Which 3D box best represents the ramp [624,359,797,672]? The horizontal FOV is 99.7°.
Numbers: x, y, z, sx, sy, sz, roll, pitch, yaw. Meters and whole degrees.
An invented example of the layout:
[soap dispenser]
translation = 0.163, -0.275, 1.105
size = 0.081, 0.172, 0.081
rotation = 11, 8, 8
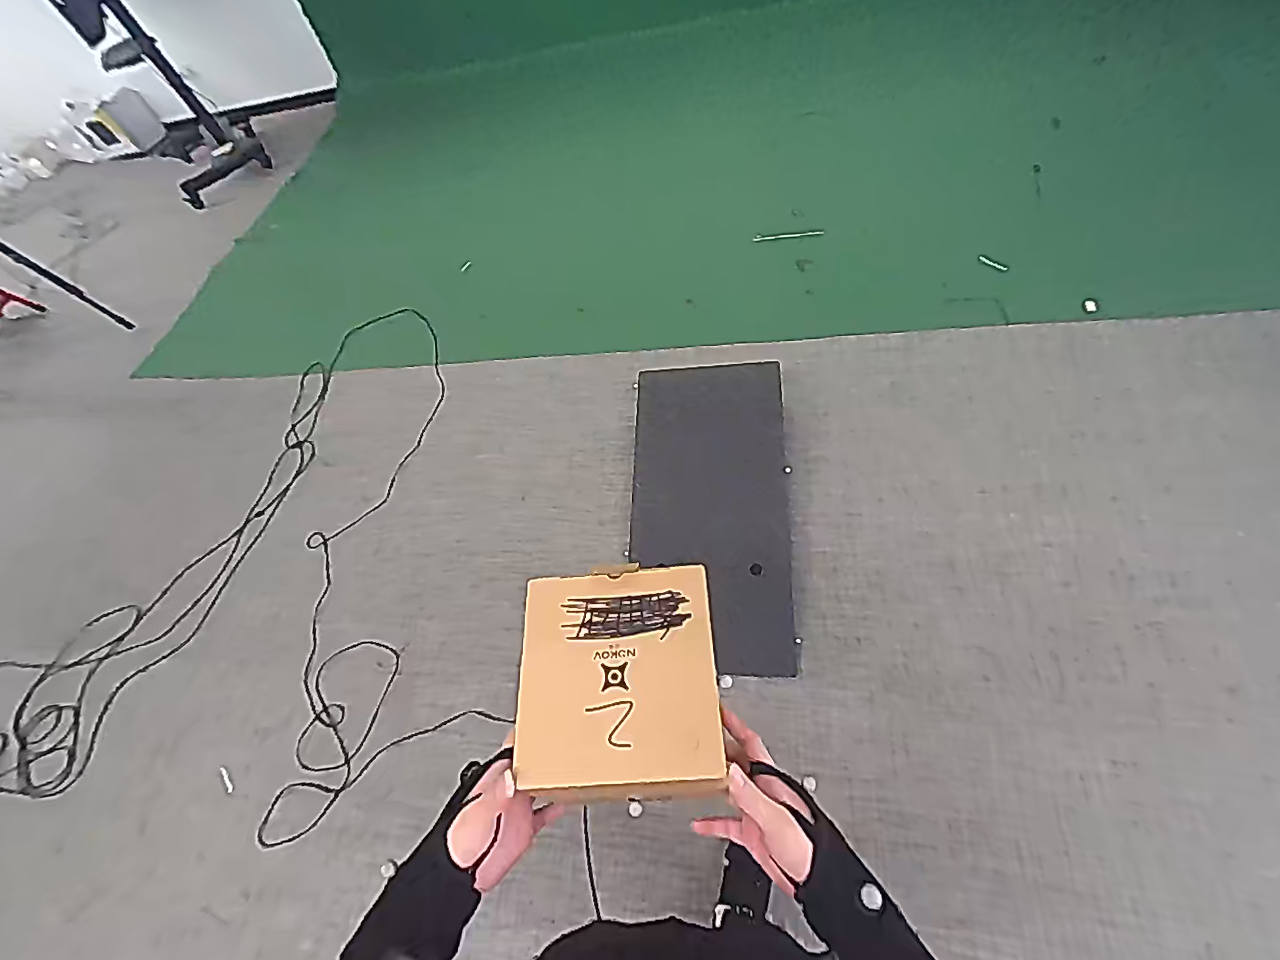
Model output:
[ramp]
translation = 0.212, 0.066, 1.690
size = 0.509, 0.206, 0.991
rotation = -3, 58, 10
